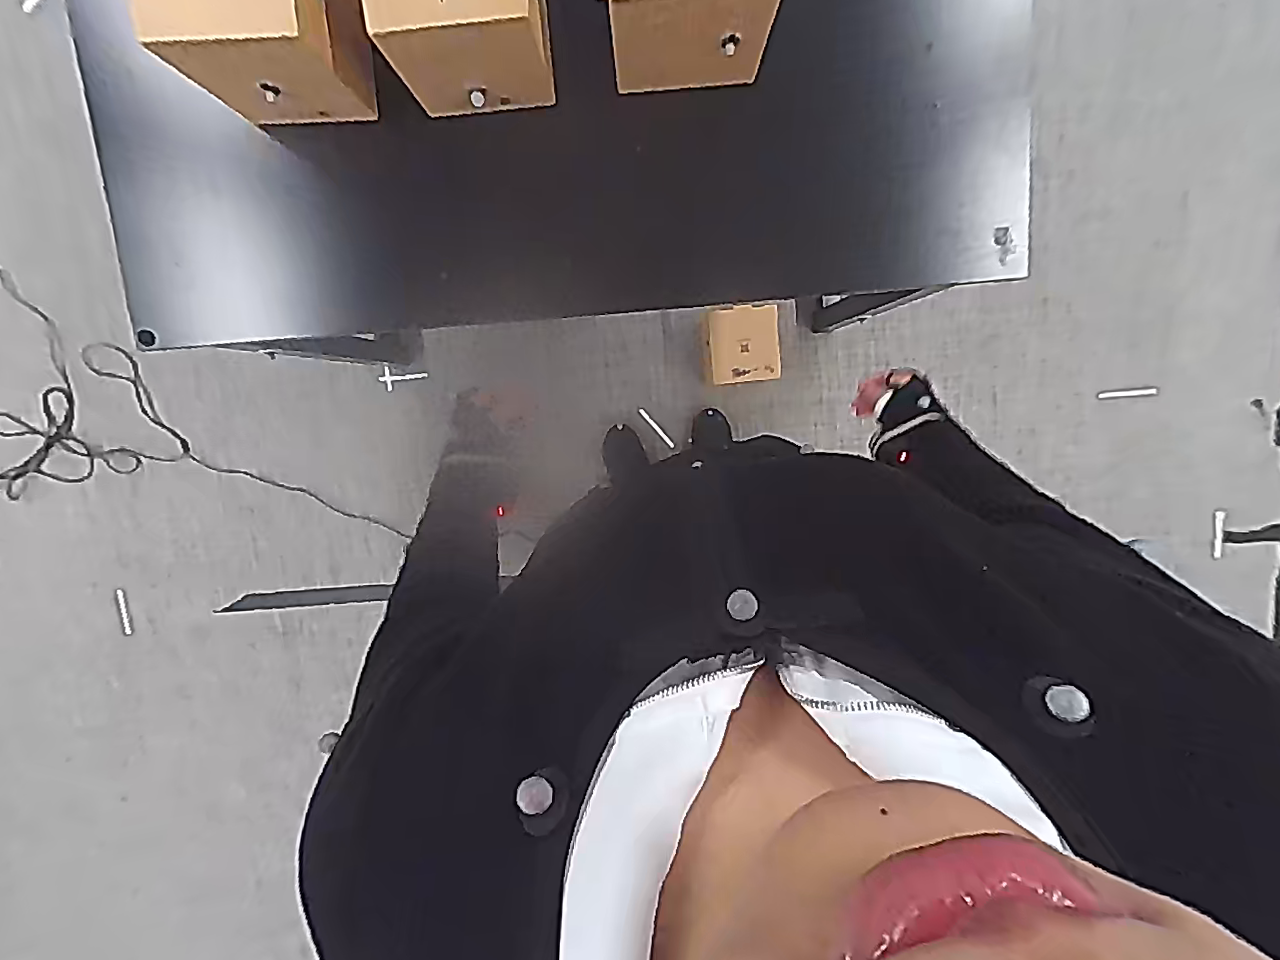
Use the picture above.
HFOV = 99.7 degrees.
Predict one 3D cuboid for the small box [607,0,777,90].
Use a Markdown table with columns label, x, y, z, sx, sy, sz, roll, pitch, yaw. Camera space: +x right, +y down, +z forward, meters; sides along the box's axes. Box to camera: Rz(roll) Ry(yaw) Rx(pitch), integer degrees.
| label | x | y | z | sx | sy | sz | roll | pitch | yaw |
| --- | --- | --- | --- | --- | --- | --- | --- | --- | --- |
| small box | 0.049 | -0.570 | 0.598 | 0.179 | 0.176 | 0.168 | -4 | 97 | 2 |

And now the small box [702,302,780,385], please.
| label | x | y | z | sx | sy | sz | roll | pitch | yaw |
| --- | --- | --- | --- | --- | --- | --- | --- | --- | --- |
| small box | 0.249 | -0.338 | 1.364 | 0.168 | 0.176 | 0.179 | -5 | 98 | 2 |

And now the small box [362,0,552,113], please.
| label | x | y | z | sx | sy | sz | roll | pitch | yaw |
| --- | --- | --- | --- | --- | --- | --- | --- | --- | --- |
| small box | -0.198 | -0.550 | 0.601 | 0.168 | 0.176 | 0.179 | -5 | 99 | 1 |

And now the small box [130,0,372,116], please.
| label | x | y | z | sx | sy | sz | roll | pitch | yaw |
| --- | --- | --- | --- | --- | --- | --- | --- | --- | --- |
| small box | -0.422 | -0.537 | 0.605 | 0.168 | 0.176 | 0.179 | -2 | 98 | 0 |
